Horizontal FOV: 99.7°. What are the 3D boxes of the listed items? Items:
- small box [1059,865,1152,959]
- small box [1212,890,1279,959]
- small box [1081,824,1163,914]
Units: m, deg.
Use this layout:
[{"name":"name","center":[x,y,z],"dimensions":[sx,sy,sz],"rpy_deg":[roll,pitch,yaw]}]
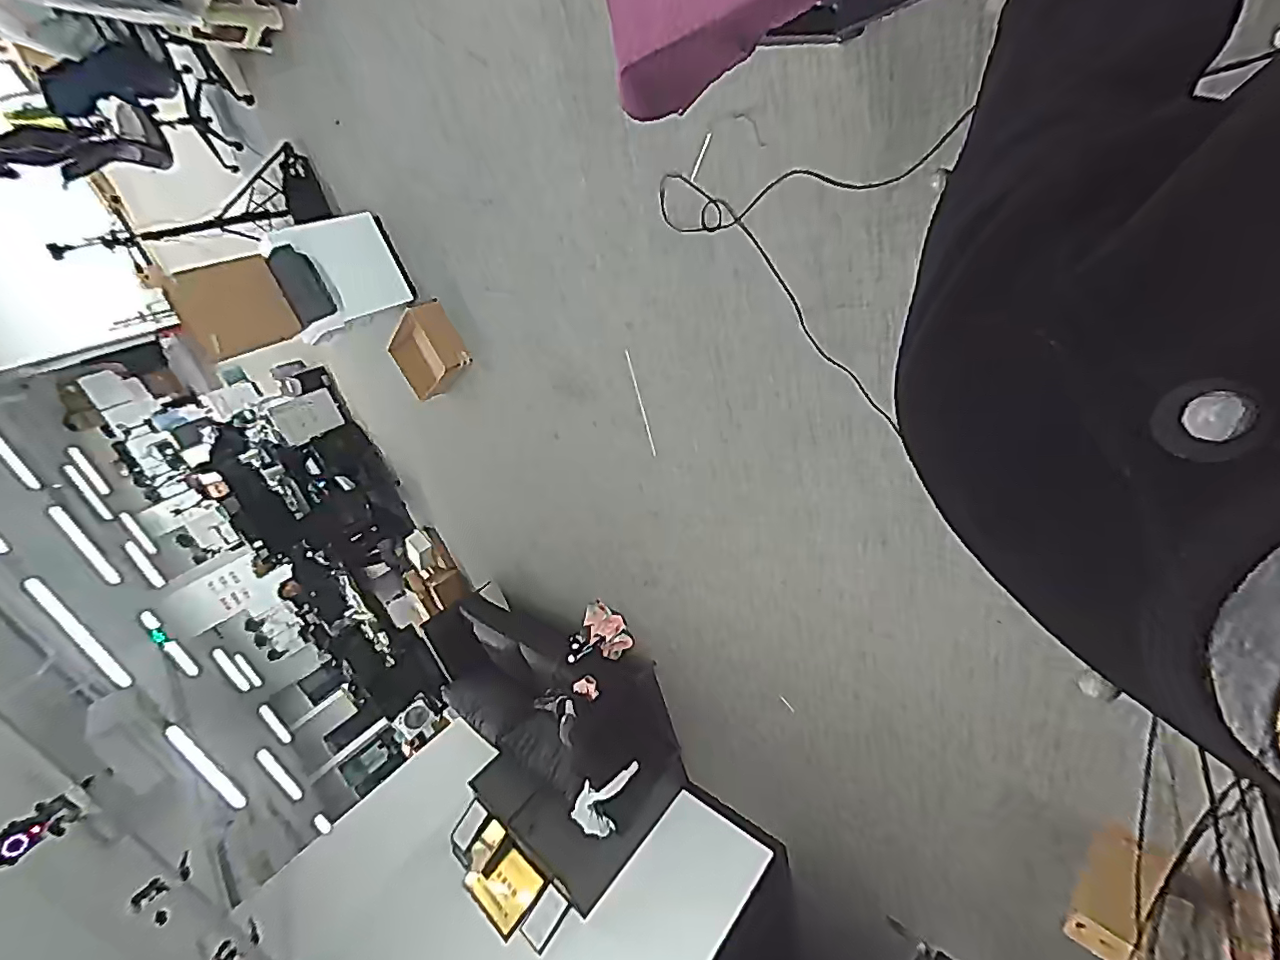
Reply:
[{"name":"small box","center":[1.416,1.331,1.643],"dimensions":[0.179,0.176,0.168],"rpy_deg":[20,131,37]},{"name":"small box","center":[1.754,1.307,1.521],"dimensions":[0.179,0.176,0.168],"rpy_deg":[10,126,44]},{"name":"small box","center":[1.537,1.260,1.730],"dimensions":[0.168,0.176,0.179],"rpy_deg":[20,131,37]}]
